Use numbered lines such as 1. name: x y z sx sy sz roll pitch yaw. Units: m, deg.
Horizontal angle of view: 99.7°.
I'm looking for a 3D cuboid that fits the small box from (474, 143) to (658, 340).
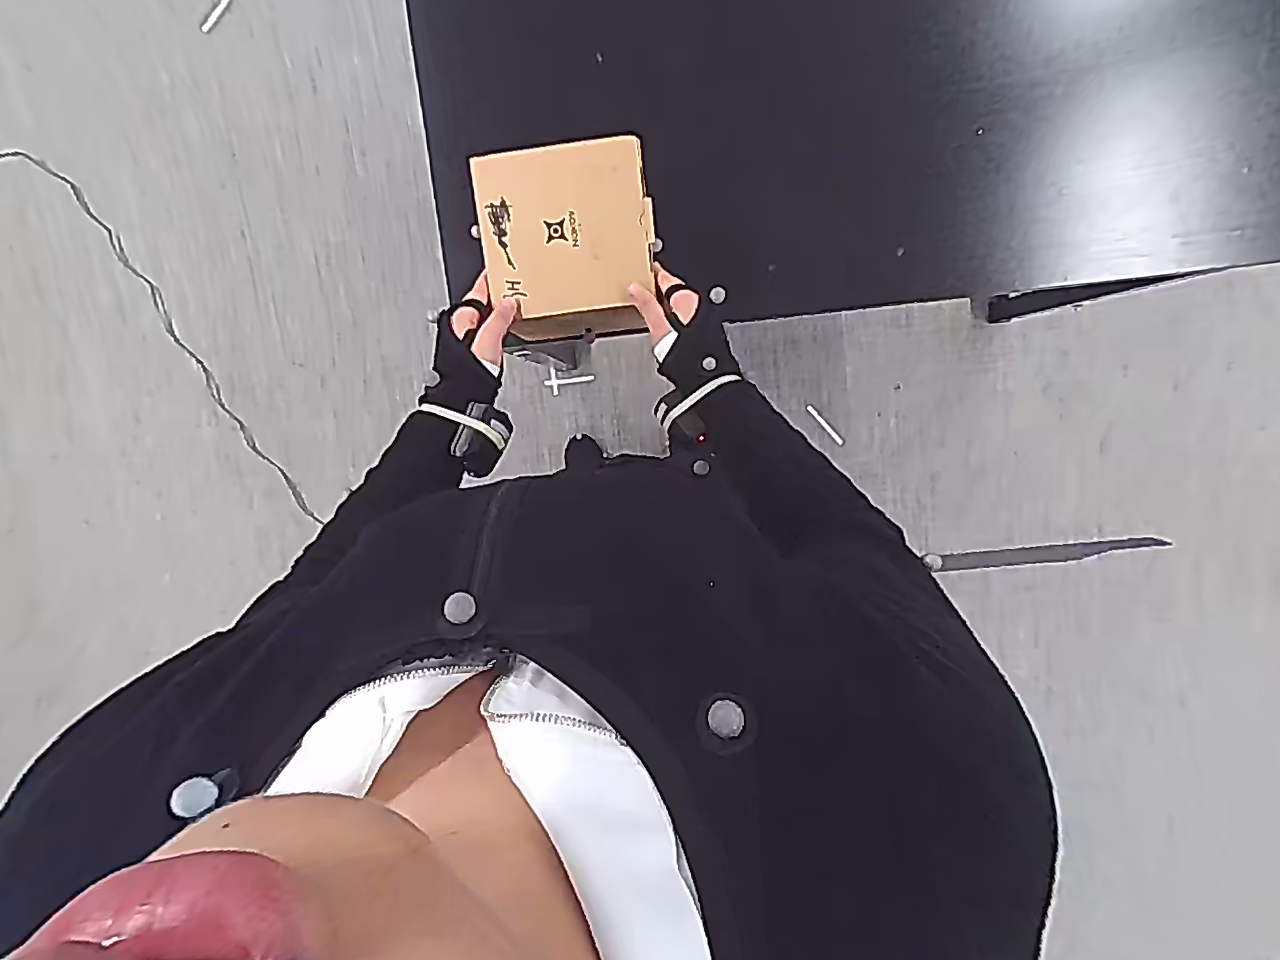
1. small box: -0.077 -0.266 0.639 0.179 0.176 0.168 -6 97 1
